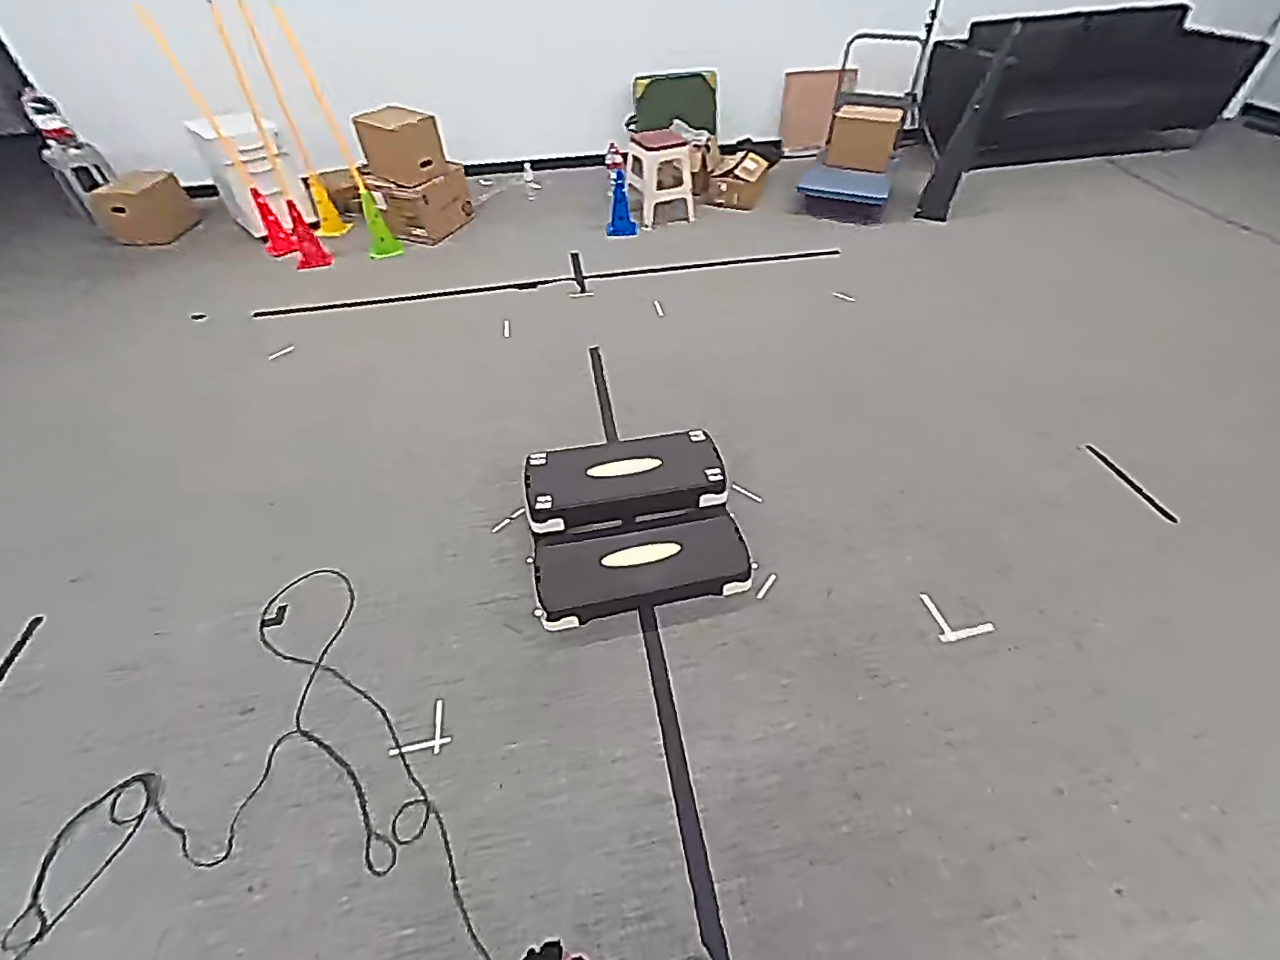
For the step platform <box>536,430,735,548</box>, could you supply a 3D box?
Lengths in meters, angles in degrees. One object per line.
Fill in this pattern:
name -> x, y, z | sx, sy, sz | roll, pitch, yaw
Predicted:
step platform -> -0.017, 0.020, 1.886 | 0.684, 0.204, 0.286 | -9, 47, -8
